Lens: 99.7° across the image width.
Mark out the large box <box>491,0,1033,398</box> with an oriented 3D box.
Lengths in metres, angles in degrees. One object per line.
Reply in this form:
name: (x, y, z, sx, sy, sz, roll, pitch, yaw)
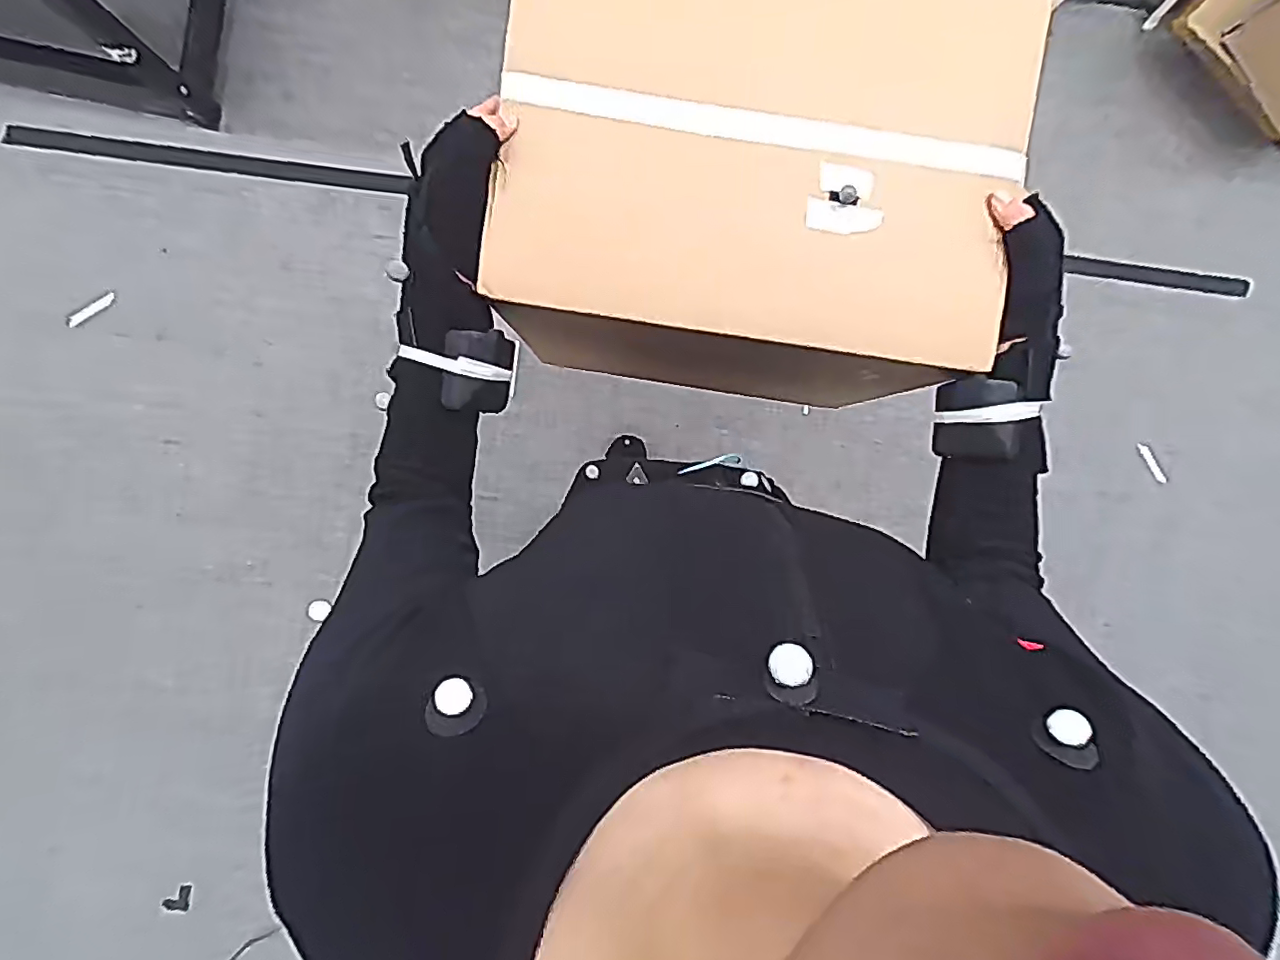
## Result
large box: (0.090, -0.278, 0.572, 0.408, 0.320, 0.320, 8, 93, -3)
